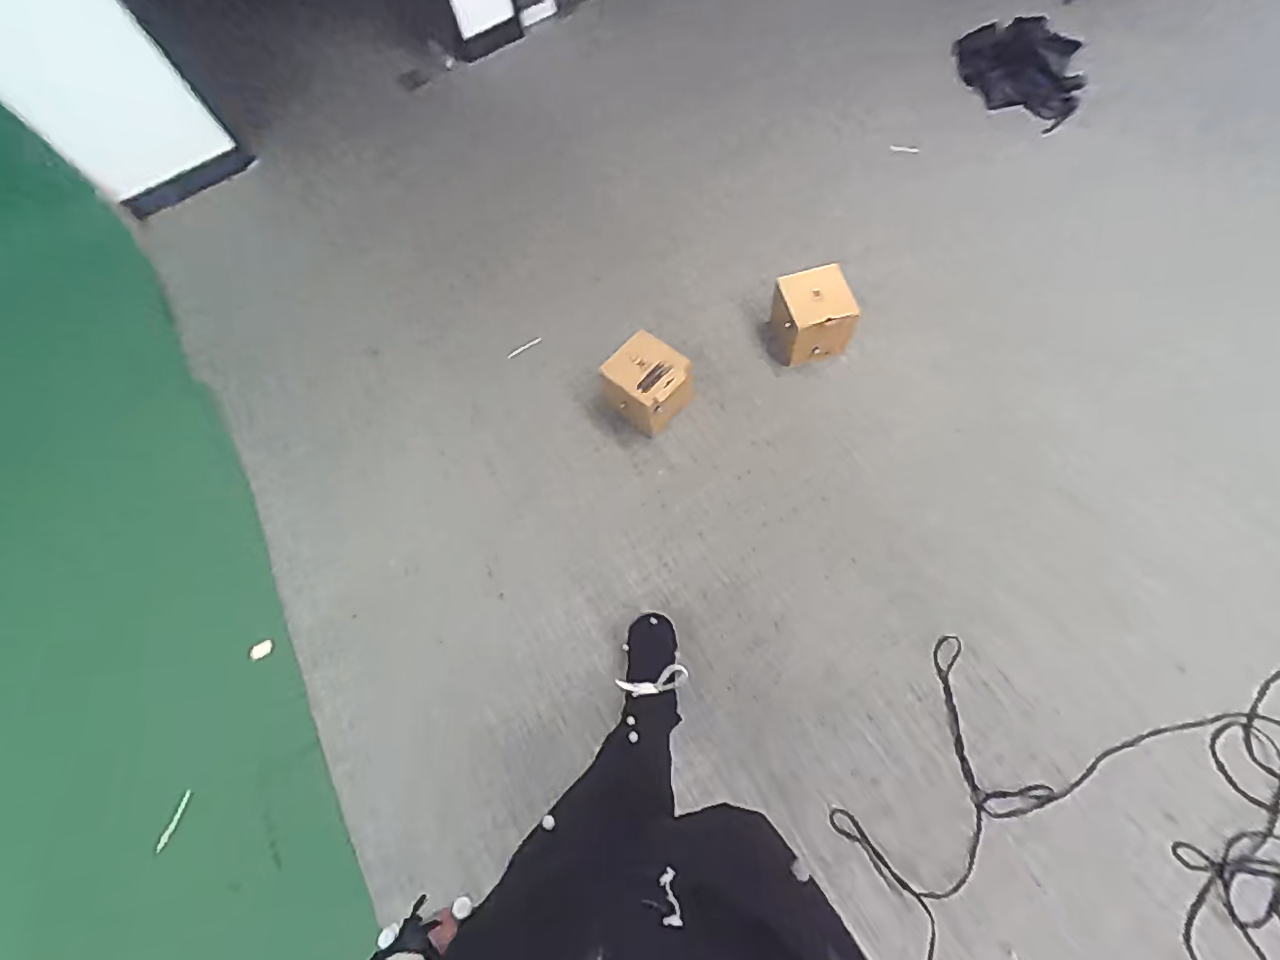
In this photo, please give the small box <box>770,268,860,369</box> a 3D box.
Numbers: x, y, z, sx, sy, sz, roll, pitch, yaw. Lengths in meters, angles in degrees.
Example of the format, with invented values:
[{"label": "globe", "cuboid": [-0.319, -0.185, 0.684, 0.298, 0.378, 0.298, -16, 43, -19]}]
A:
[{"label": "small box", "cuboid": [0.460, -0.430, 1.457, 0.168, 0.176, 0.179, -14, 65, -1]}]
